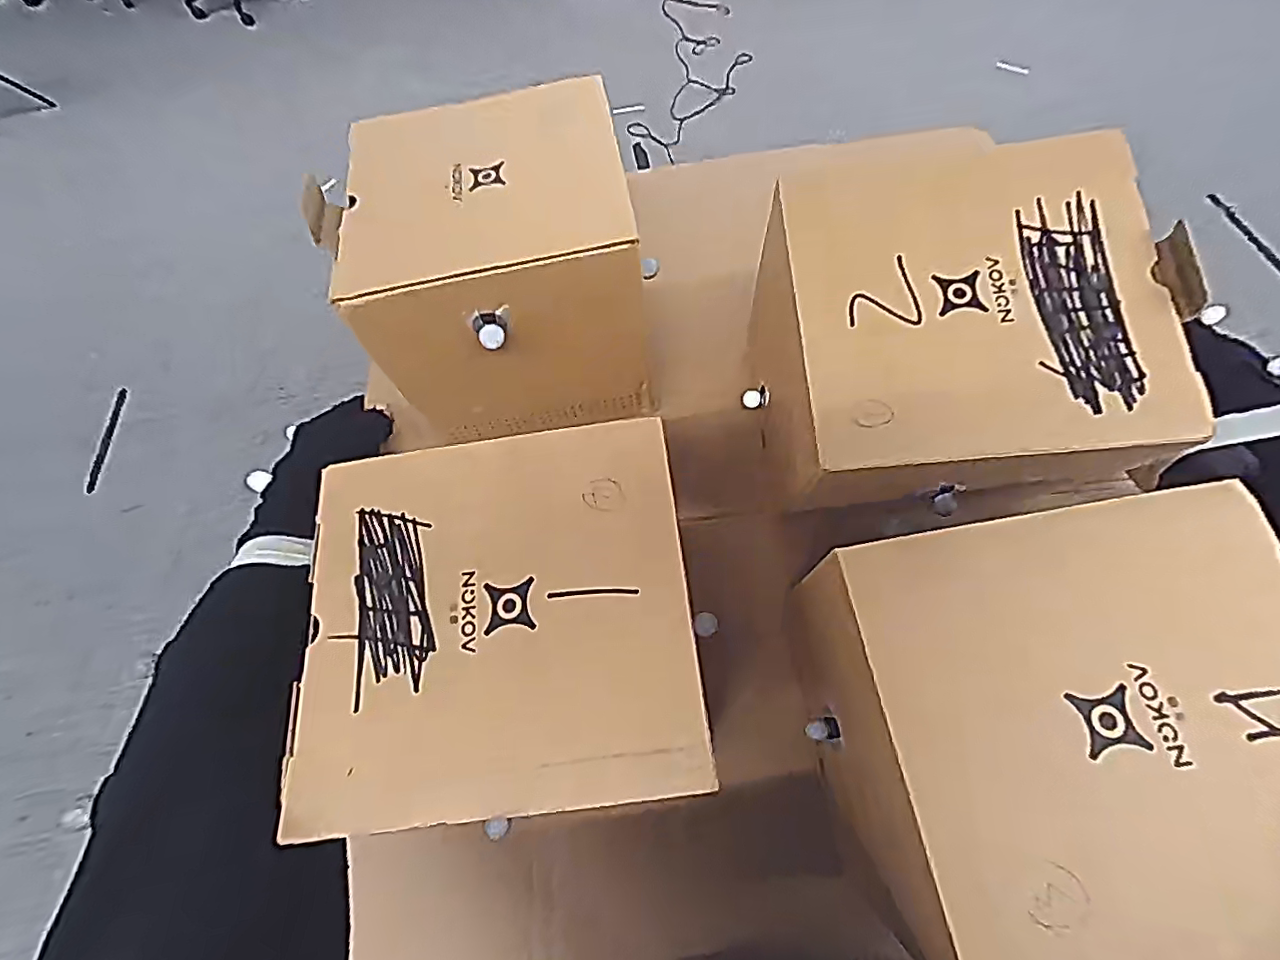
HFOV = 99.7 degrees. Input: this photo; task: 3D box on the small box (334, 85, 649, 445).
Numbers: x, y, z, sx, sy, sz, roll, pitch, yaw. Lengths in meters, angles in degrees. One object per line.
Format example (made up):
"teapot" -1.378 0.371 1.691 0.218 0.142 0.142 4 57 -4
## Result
"small box" -0.091 -0.147 0.408 0.179 0.176 0.168 -11 63 2
